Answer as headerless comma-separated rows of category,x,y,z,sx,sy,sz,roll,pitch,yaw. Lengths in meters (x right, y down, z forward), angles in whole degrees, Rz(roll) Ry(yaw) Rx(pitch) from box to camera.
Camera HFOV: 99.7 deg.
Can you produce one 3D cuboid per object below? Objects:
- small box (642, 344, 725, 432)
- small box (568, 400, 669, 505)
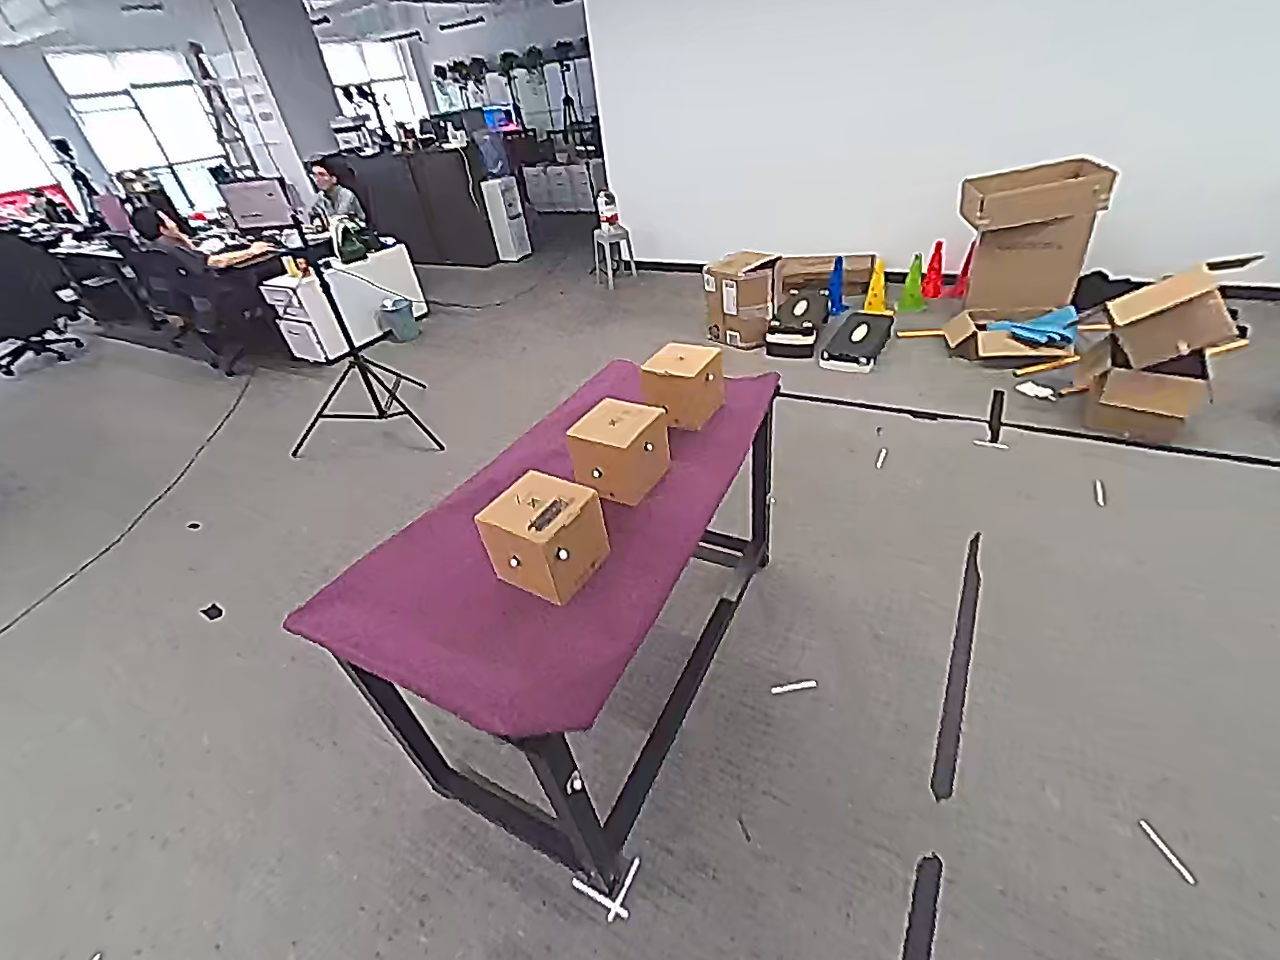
small box,0.126,-0.256,1.500,0.168,0.176,0.179,15,44,29
small box,-0.041,-0.066,1.280,0.168,0.176,0.179,16,43,28
